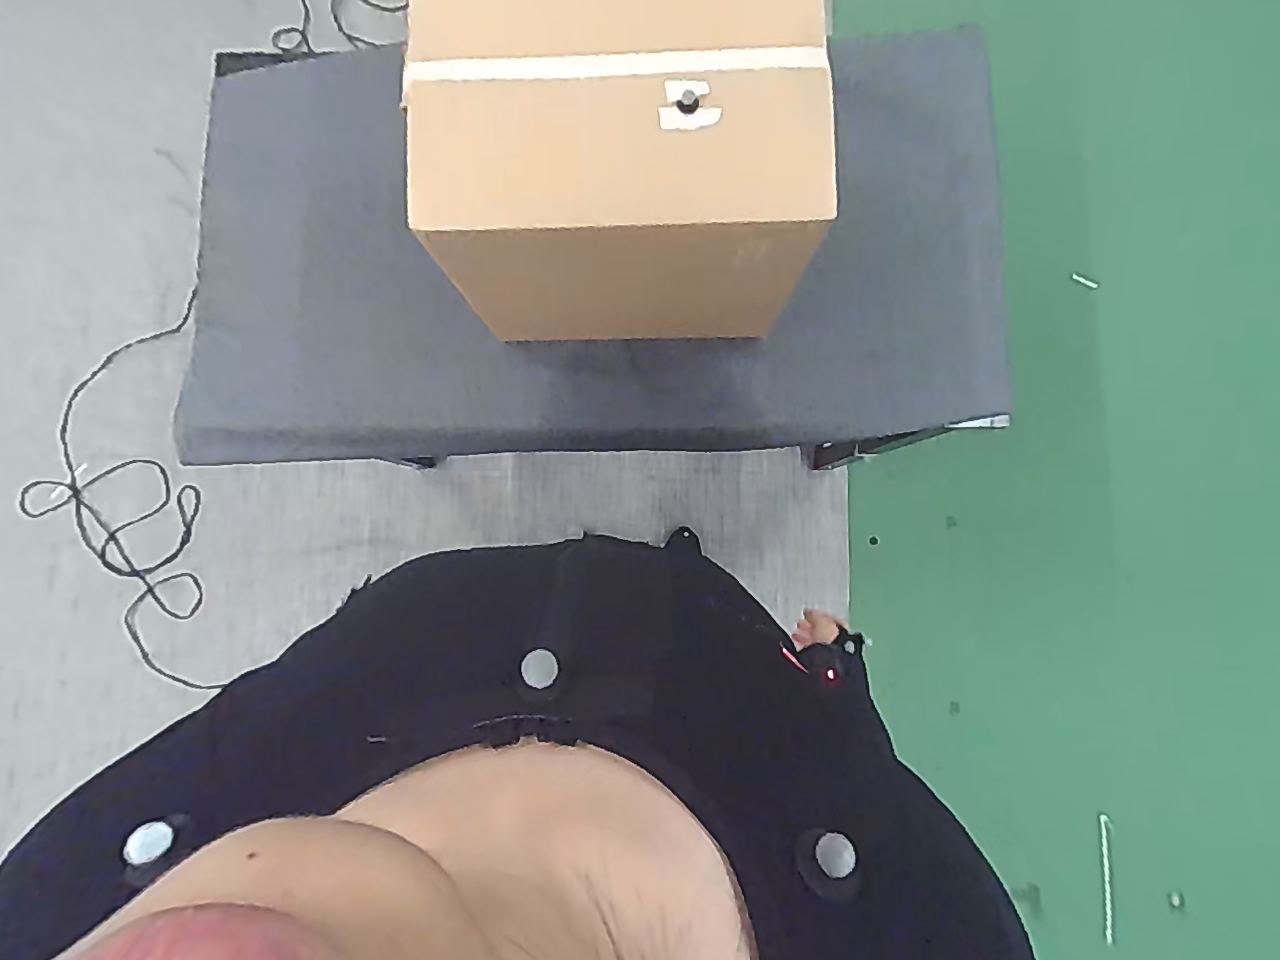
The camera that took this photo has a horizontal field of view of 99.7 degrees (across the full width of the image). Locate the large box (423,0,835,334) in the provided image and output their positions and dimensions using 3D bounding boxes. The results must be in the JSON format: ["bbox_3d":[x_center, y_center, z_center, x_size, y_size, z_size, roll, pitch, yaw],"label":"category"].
[{"bbox_3d":[-0.016,-0.389,0.679,0.408,0.320,0.320,-2,86,0],"label":"large box"}]
